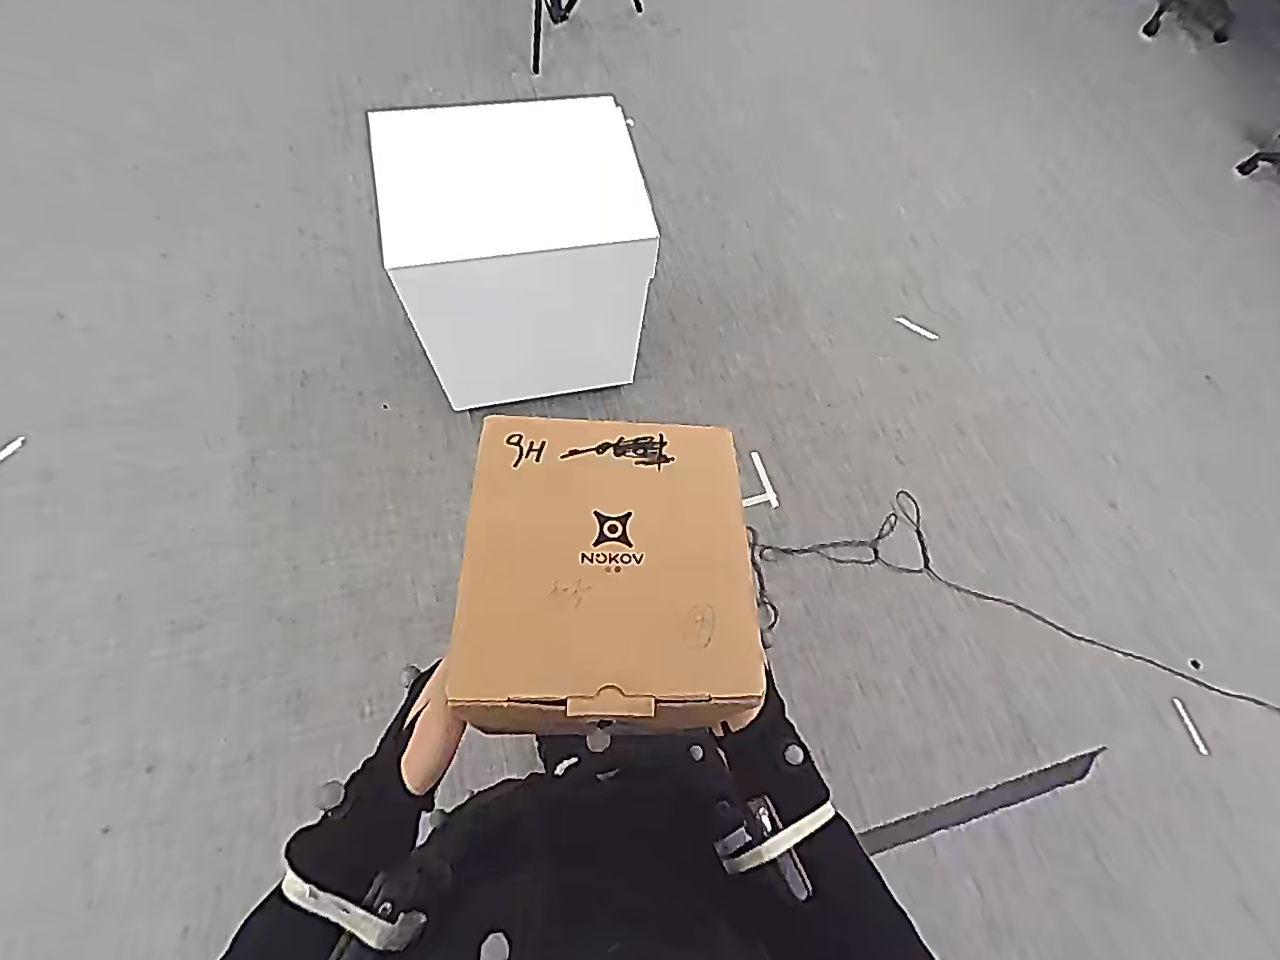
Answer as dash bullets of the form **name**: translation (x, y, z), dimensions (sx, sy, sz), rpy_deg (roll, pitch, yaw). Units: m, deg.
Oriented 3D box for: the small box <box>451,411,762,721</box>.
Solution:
- **small box**: translation (-0.026, 0.073, 0.387), dimensions (0.168, 0.176, 0.179), rpy_deg (3, 61, -8)
